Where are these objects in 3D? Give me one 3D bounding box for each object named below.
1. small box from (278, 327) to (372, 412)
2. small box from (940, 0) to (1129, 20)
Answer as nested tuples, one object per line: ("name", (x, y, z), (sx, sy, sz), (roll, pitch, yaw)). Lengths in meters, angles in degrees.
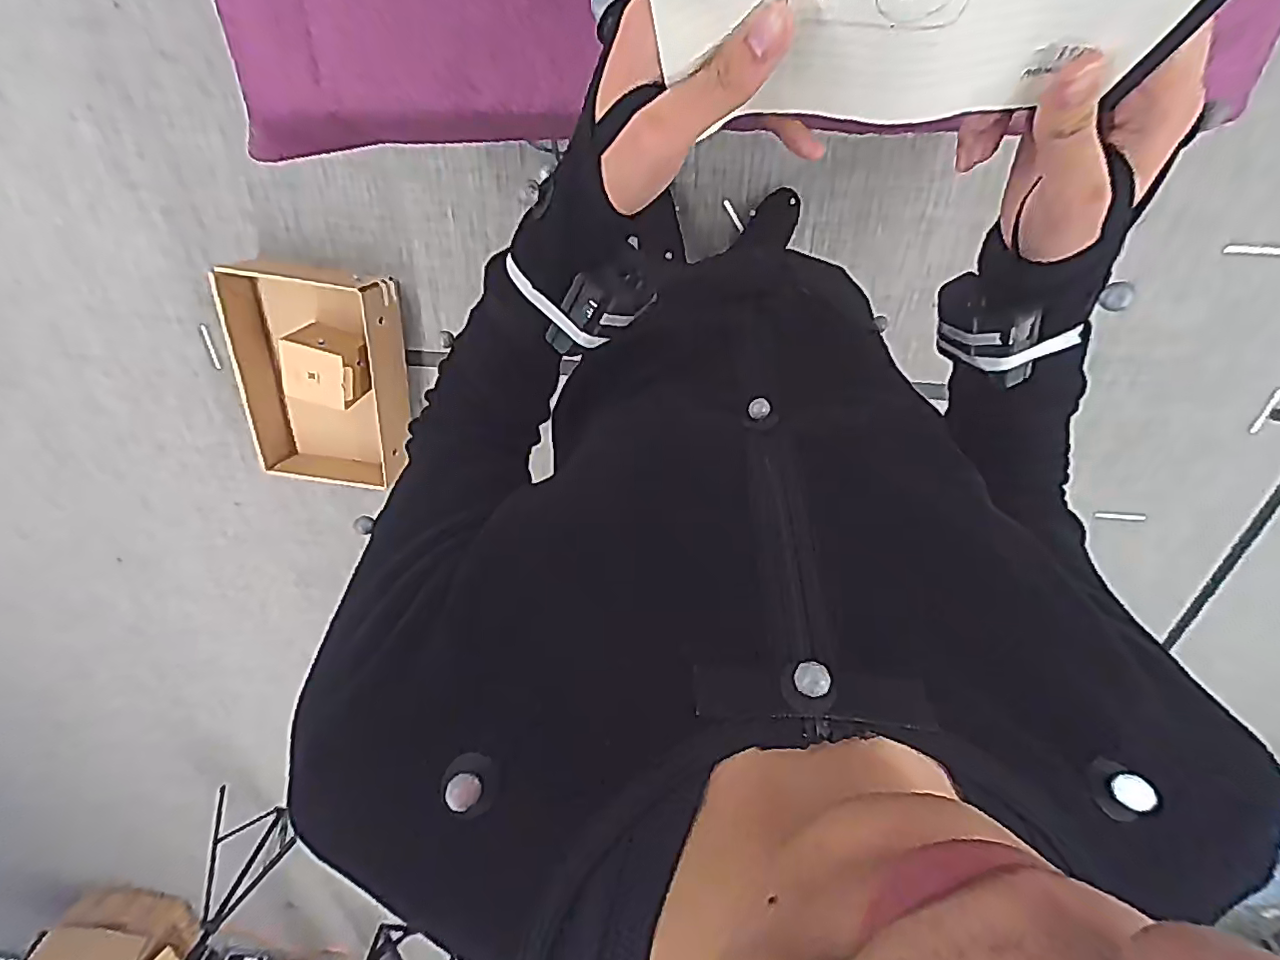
("small box", (-0.880, -0.318, 1.531), (0.179, 0.176, 0.168), (15, 121, -5))
("small box", (0.406, -0.538, 0.485), (0.179, 0.176, 0.168), (5, 122, 2))
